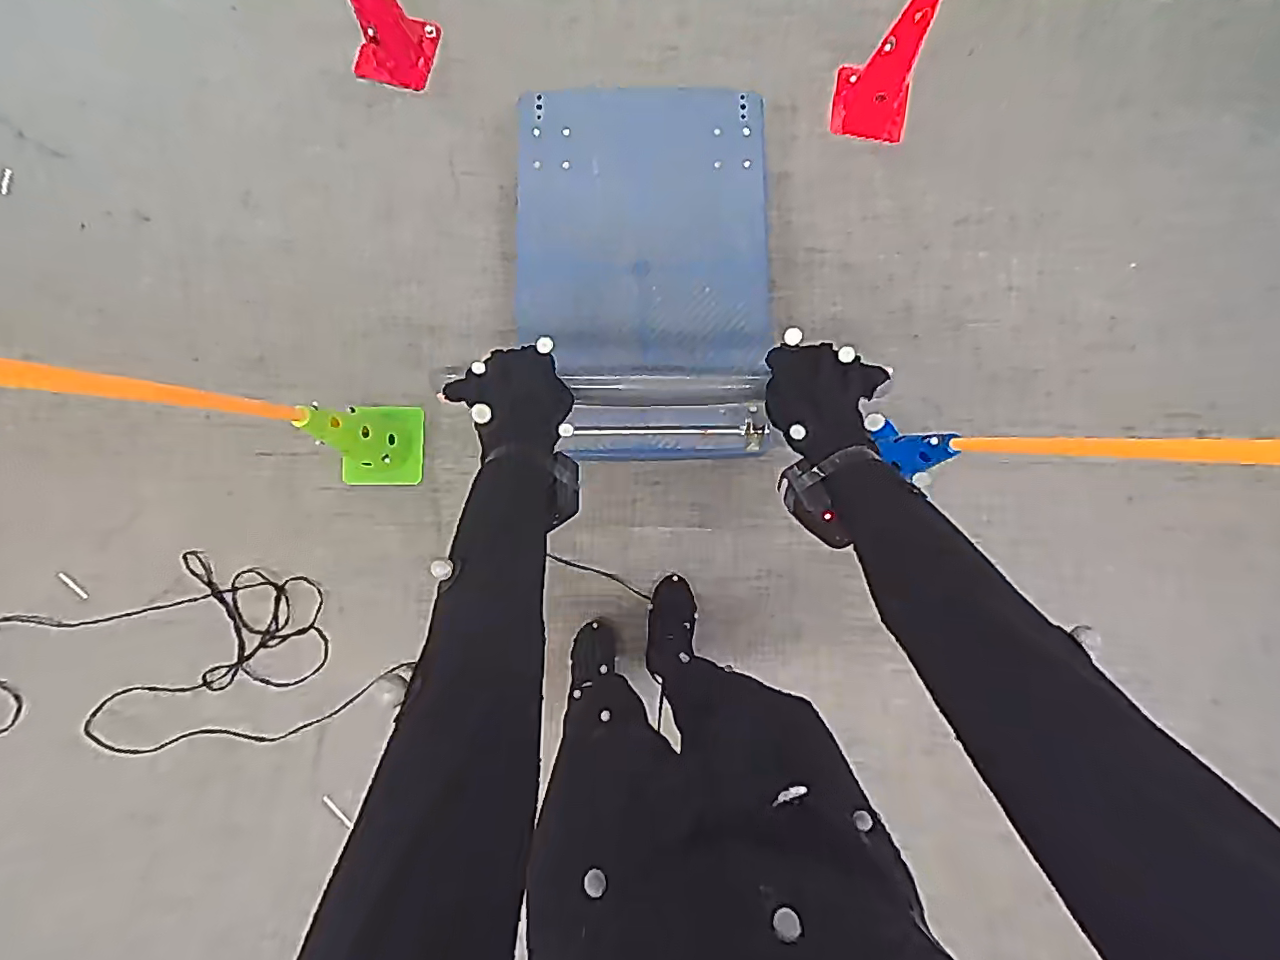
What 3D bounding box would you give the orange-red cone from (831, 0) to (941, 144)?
[{"bbox_3d":[0.629,-1.031,1.299,0.198,0.360,0.199,12,85,2],"label":"orange-red cone"}]
